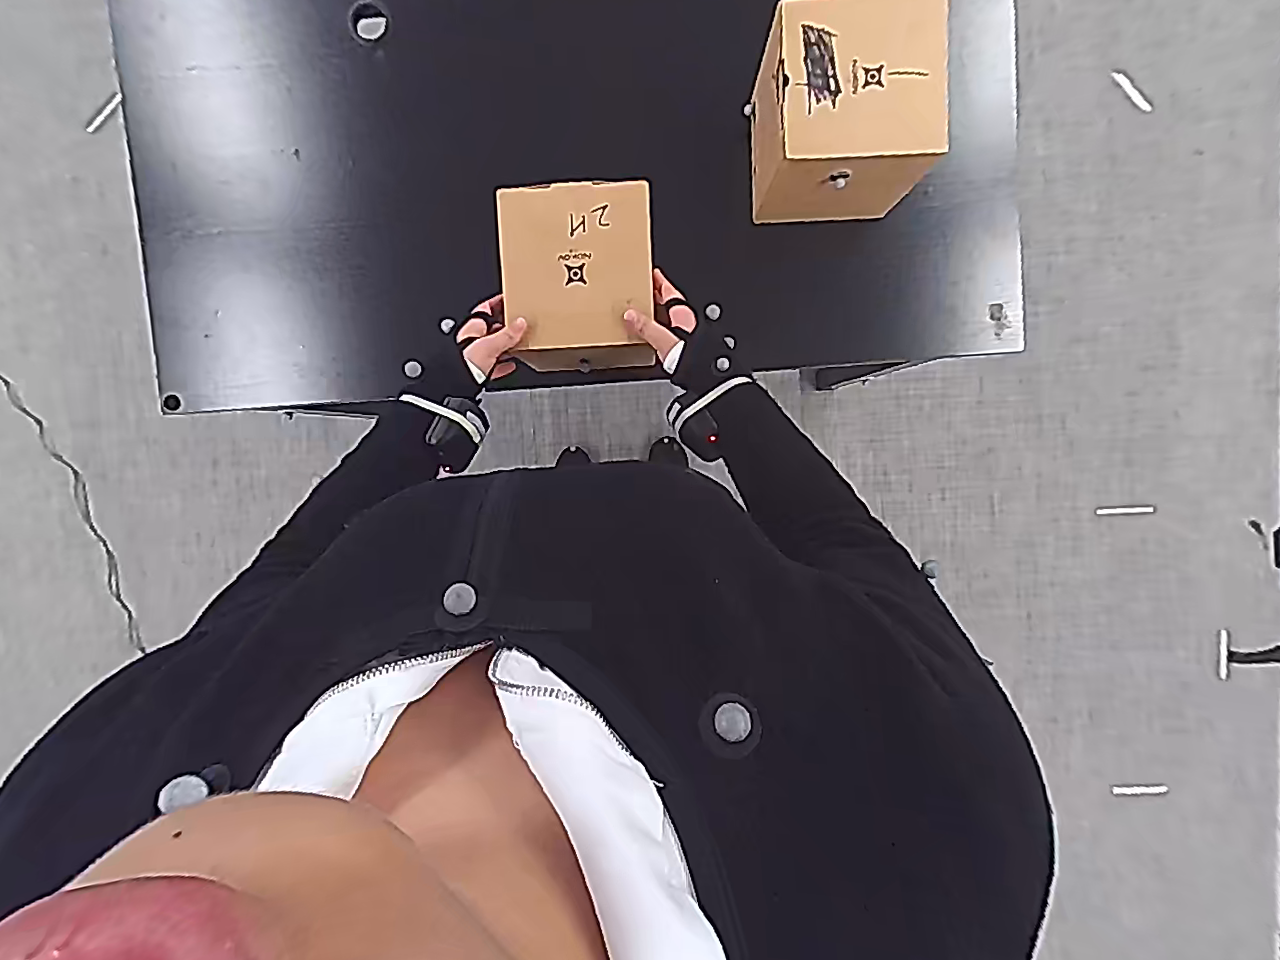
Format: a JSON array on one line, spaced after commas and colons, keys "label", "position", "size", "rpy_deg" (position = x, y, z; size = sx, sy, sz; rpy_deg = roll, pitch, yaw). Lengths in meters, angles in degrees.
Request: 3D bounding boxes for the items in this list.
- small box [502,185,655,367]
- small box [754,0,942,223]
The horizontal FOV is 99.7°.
[{"label": "small box", "position": [-0.066, -0.239, 0.677], "size": [0.168, 0.176, 0.179], "rpy_deg": [-3, 93, 1]}, {"label": "small box", "position": [0.237, -0.429, 0.659], "size": [0.179, 0.176, 0.168], "rpy_deg": [-2, 93, 1]}]
